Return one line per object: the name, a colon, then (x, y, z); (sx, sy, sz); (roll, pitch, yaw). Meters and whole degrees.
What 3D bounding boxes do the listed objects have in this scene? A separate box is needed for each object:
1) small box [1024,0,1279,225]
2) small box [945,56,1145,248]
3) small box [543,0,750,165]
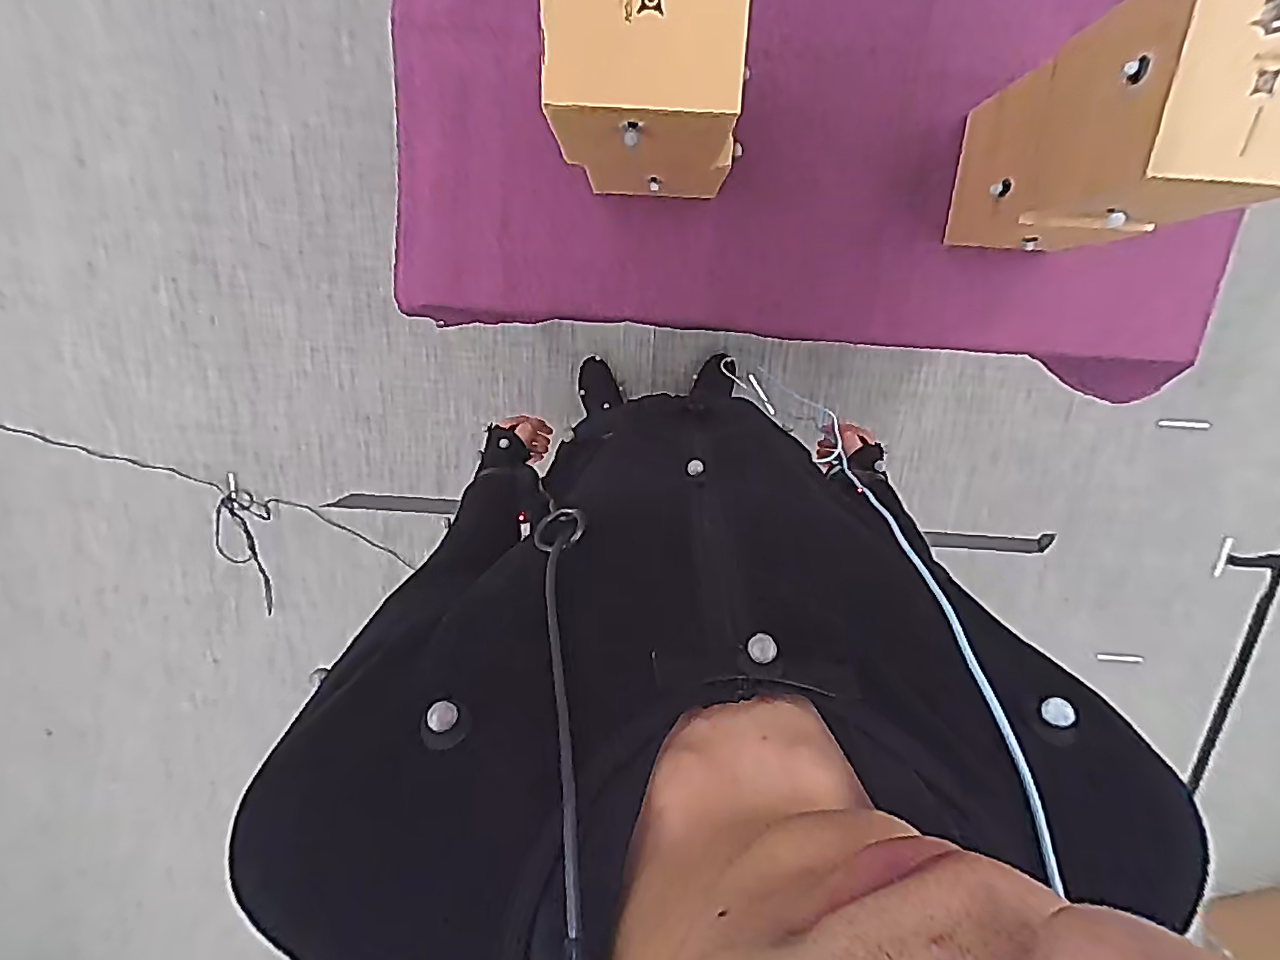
small box: (0.536, -0.373, 0.546); (0.168, 0.176, 0.179); (4, 106, -1)
small box: (0.533, -0.409, 0.706); (0.168, 0.176, 0.179); (3, 106, -2)
small box: (0.007, -0.424, 0.529); (0.179, 0.176, 0.168); (3, 106, 0)
